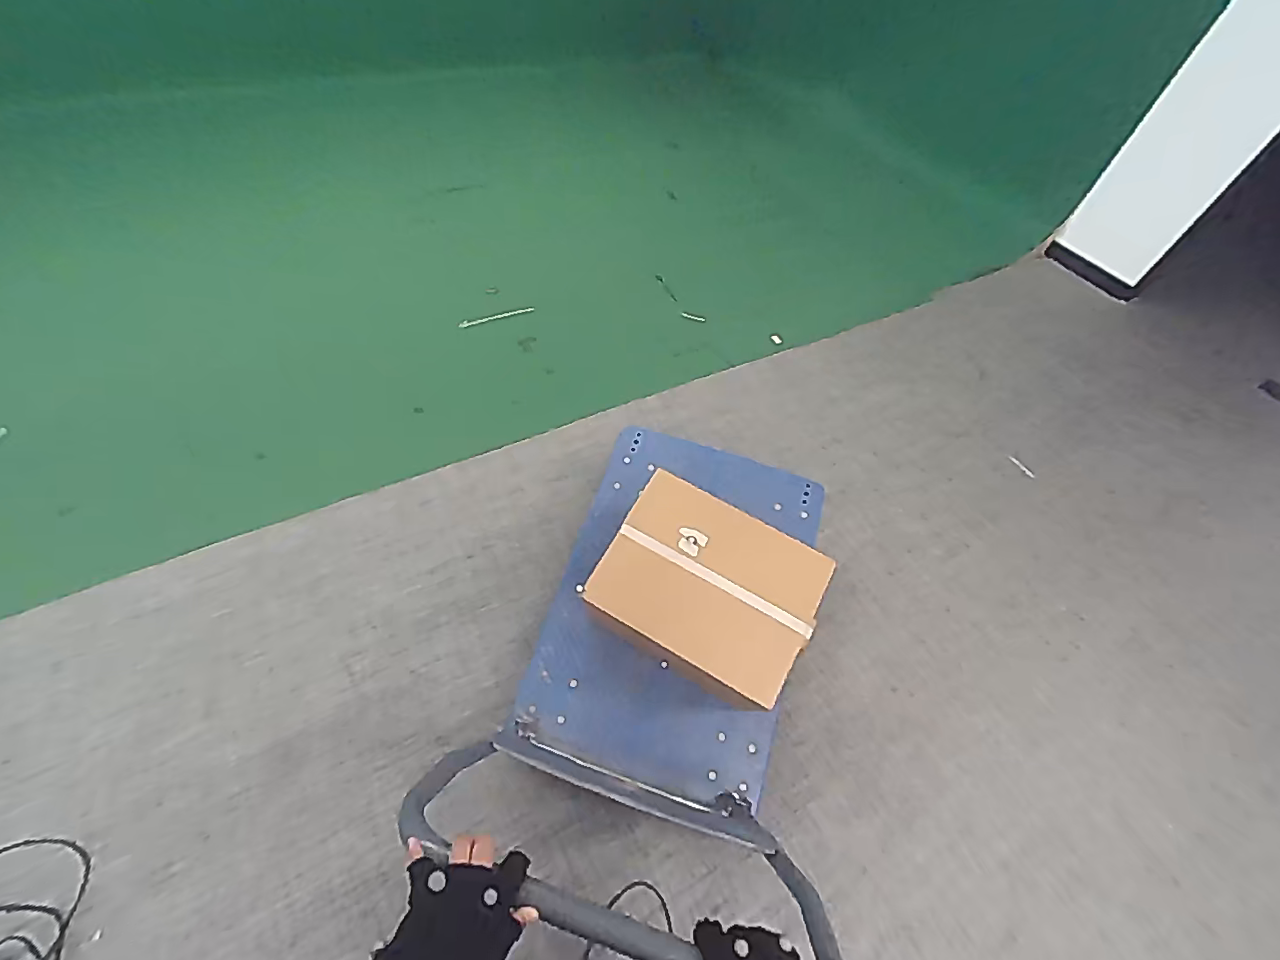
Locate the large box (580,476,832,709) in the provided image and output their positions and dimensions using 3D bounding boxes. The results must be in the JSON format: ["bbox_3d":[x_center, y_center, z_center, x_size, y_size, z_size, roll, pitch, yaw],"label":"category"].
[{"bbox_3d":[0.133,0.256,1.178,0.408,0.320,0.320,28,69,12],"label":"large box"}]
